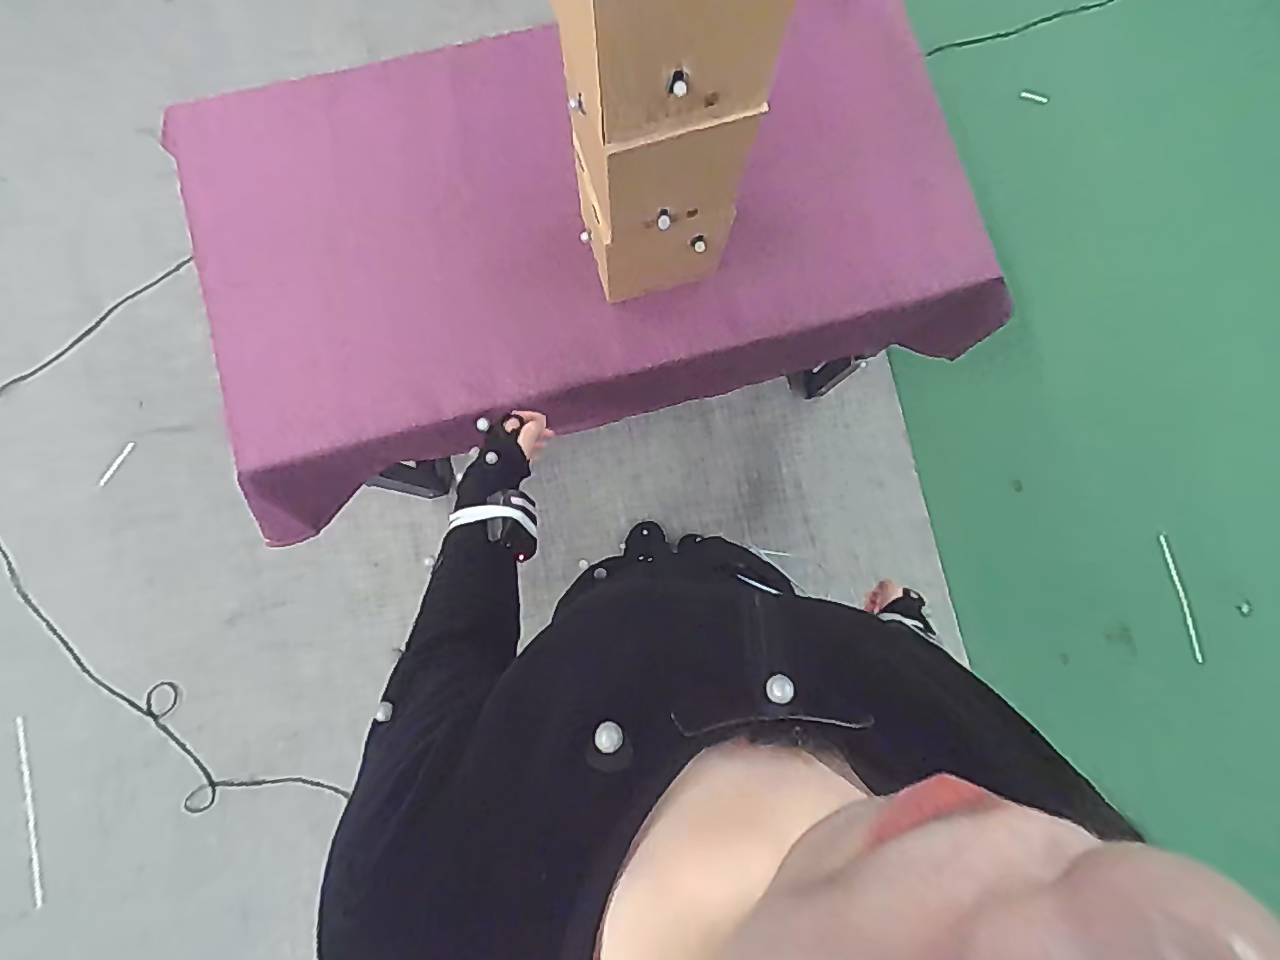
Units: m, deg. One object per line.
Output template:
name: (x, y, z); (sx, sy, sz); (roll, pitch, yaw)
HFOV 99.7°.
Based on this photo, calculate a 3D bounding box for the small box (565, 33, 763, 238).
small box: (0.017, -0.413, 0.609); (0.168, 0.176, 0.179); (-17, 84, -3)

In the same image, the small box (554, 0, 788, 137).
small box: (0.016, -0.437, 0.449); (0.168, 0.176, 0.179); (-19, 85, -3)

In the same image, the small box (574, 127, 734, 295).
small box: (0.014, -0.391, 0.771); (0.179, 0.176, 0.168); (-16, 83, -3)
